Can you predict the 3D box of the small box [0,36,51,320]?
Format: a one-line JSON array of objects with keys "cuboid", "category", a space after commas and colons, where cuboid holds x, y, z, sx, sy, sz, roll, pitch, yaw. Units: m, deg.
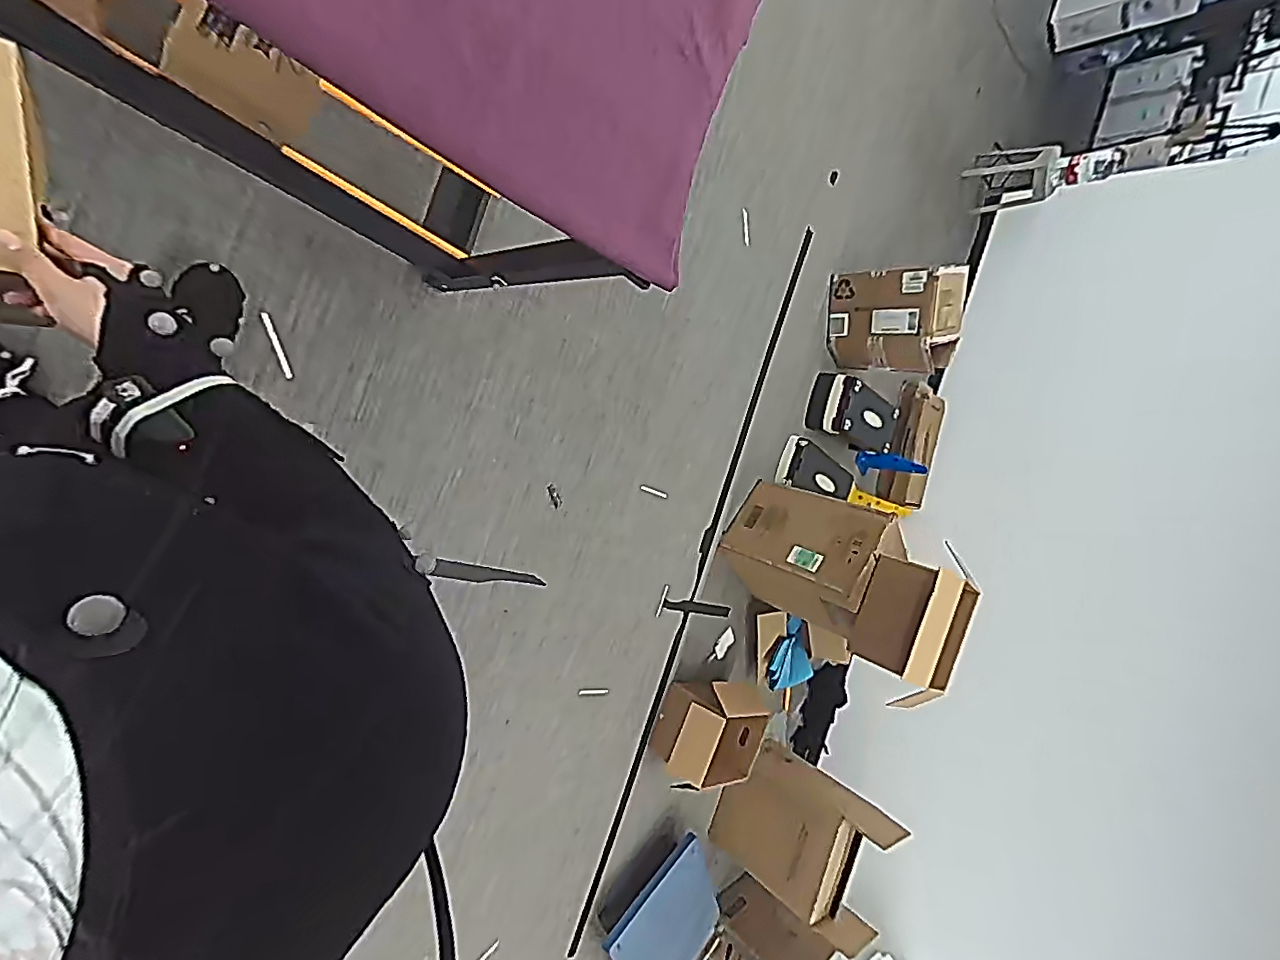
[{"cuboid": [-0.546, -0.219, 0.377, 0.179, 0.176, 0.168, -6, 92, -45], "category": "small box"}]
